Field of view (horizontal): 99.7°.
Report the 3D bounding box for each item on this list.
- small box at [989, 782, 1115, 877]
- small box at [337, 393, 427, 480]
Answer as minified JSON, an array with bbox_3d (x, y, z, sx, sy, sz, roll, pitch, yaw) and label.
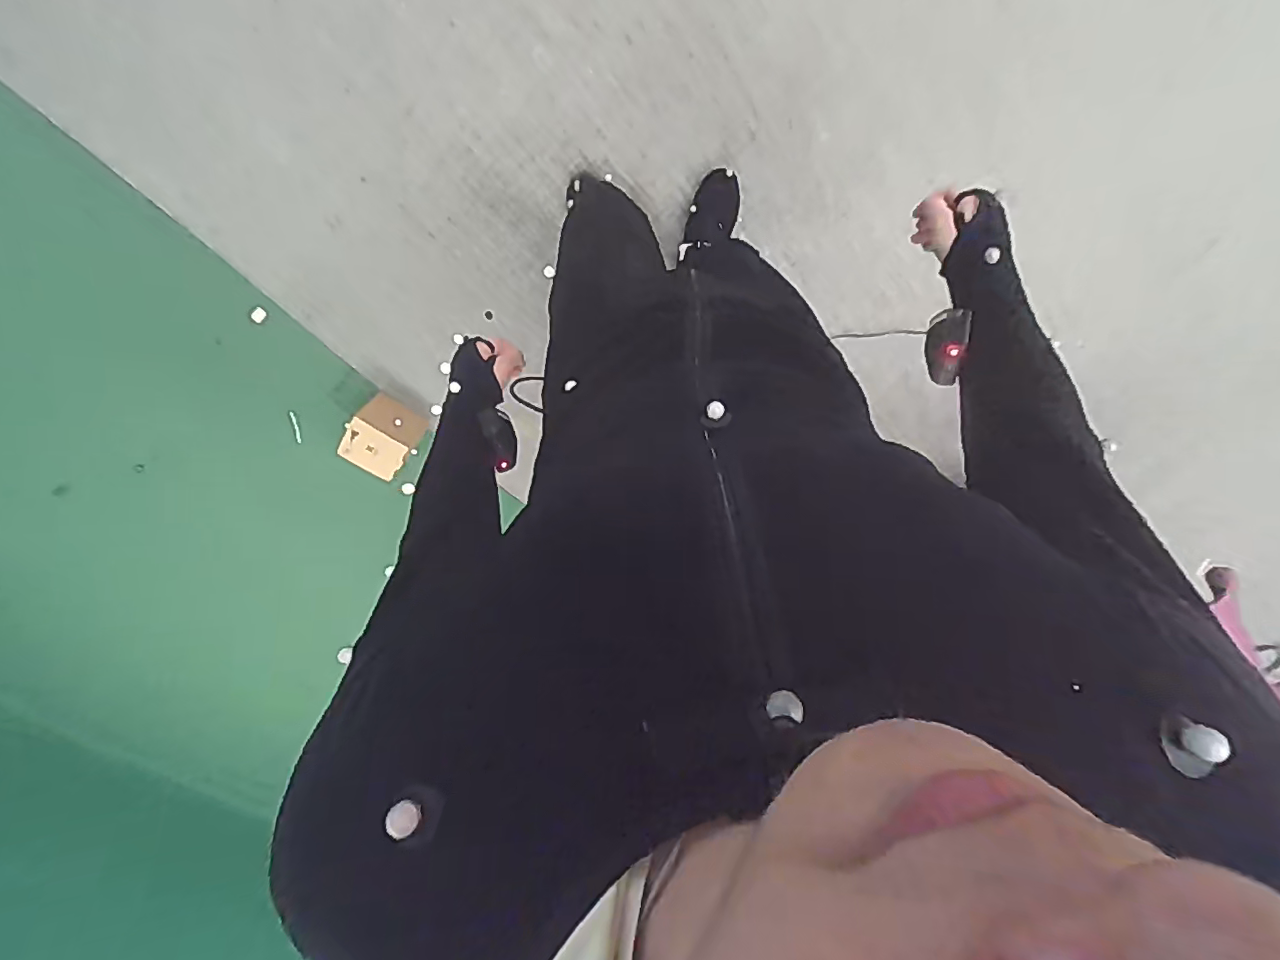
[{"bbox_3d":[1.007,0.878,1.329,0.168,0.176,0.179,-36,113,26],"label":"small box"},{"bbox_3d":[-0.795,-0.141,1.684,0.179,0.176,0.168,33,120,-18],"label":"small box"}]
